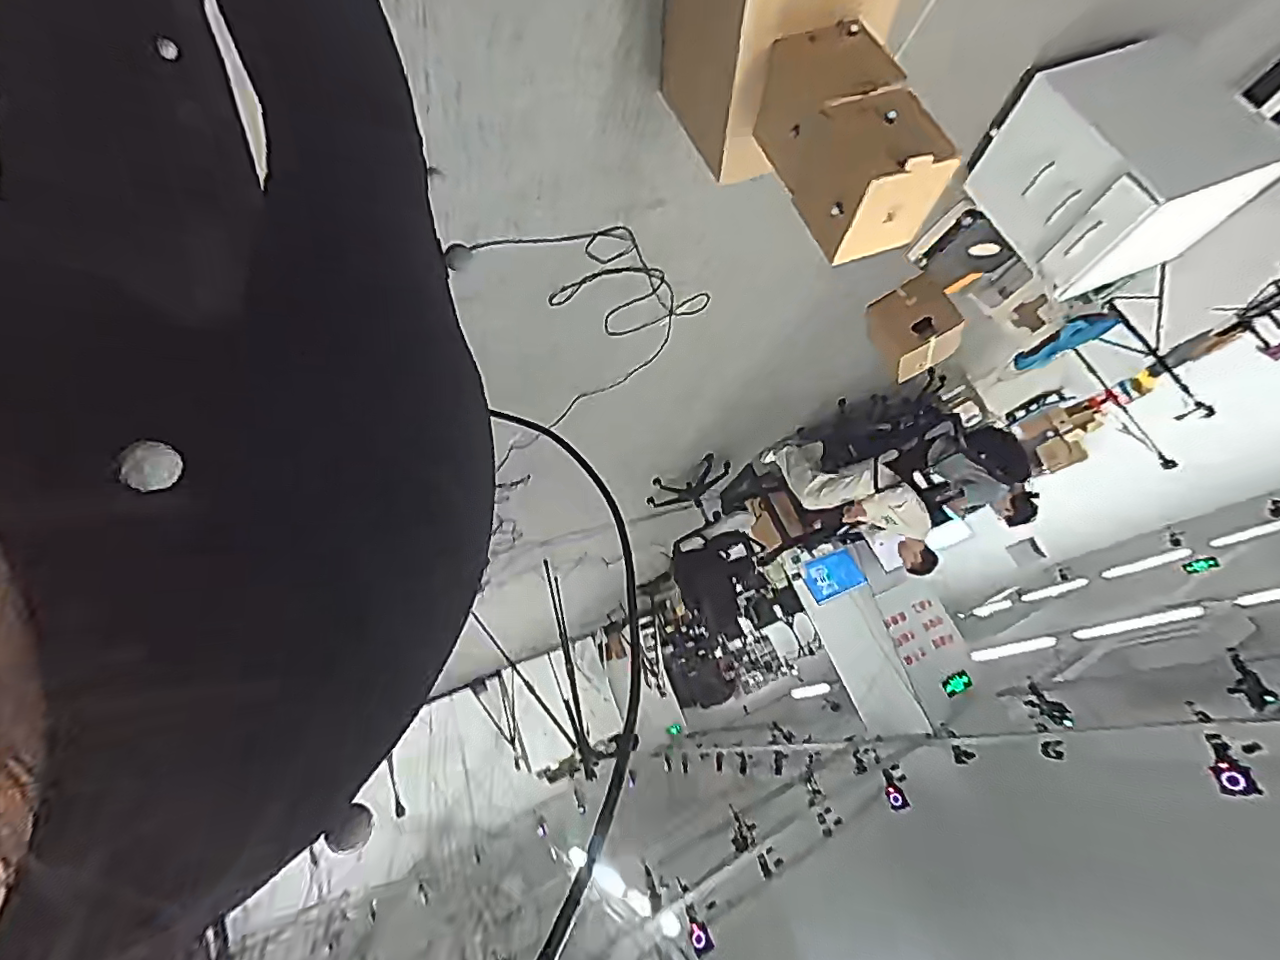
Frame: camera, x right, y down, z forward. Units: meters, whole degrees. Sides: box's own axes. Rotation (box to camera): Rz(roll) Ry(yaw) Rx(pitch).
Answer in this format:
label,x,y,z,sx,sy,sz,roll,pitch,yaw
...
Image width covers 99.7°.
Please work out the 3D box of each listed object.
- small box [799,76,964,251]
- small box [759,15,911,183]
label,x,y,z,sx,sy,sz,roll,pitch,yaw
small box,0.393,-0.534,0.919,0.168,0.176,0.179,-20,160,-8
small box,0.331,-0.679,0.961,0.168,0.176,0.179,-21,161,-8
